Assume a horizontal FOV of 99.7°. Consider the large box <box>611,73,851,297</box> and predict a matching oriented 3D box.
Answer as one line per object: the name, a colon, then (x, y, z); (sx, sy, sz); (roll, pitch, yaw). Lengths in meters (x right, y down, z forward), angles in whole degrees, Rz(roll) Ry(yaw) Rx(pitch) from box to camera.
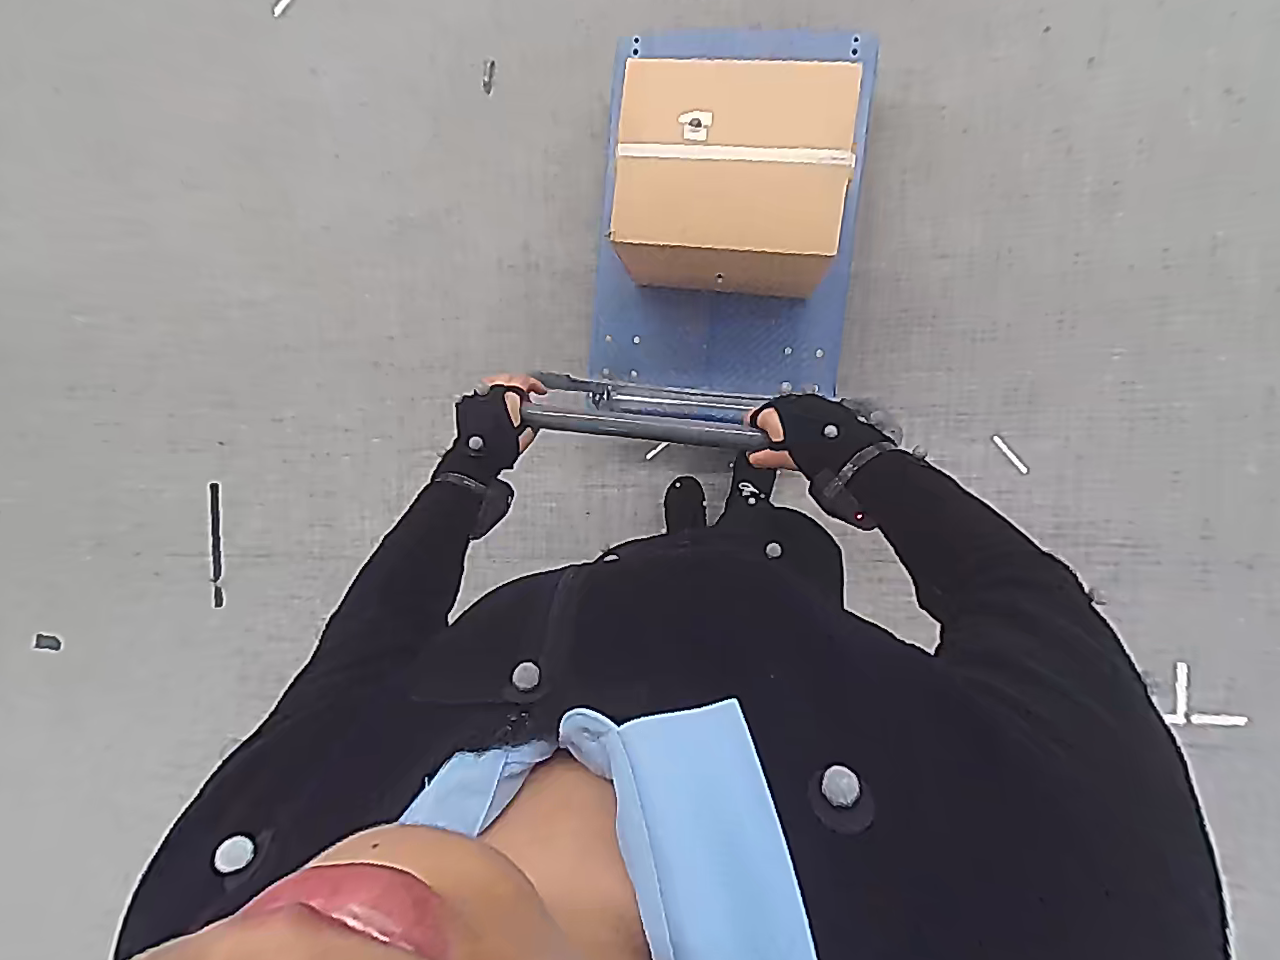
large box: (0.179, -0.575, 1.111); (0.408, 0.320, 0.320); (7, 95, 9)
